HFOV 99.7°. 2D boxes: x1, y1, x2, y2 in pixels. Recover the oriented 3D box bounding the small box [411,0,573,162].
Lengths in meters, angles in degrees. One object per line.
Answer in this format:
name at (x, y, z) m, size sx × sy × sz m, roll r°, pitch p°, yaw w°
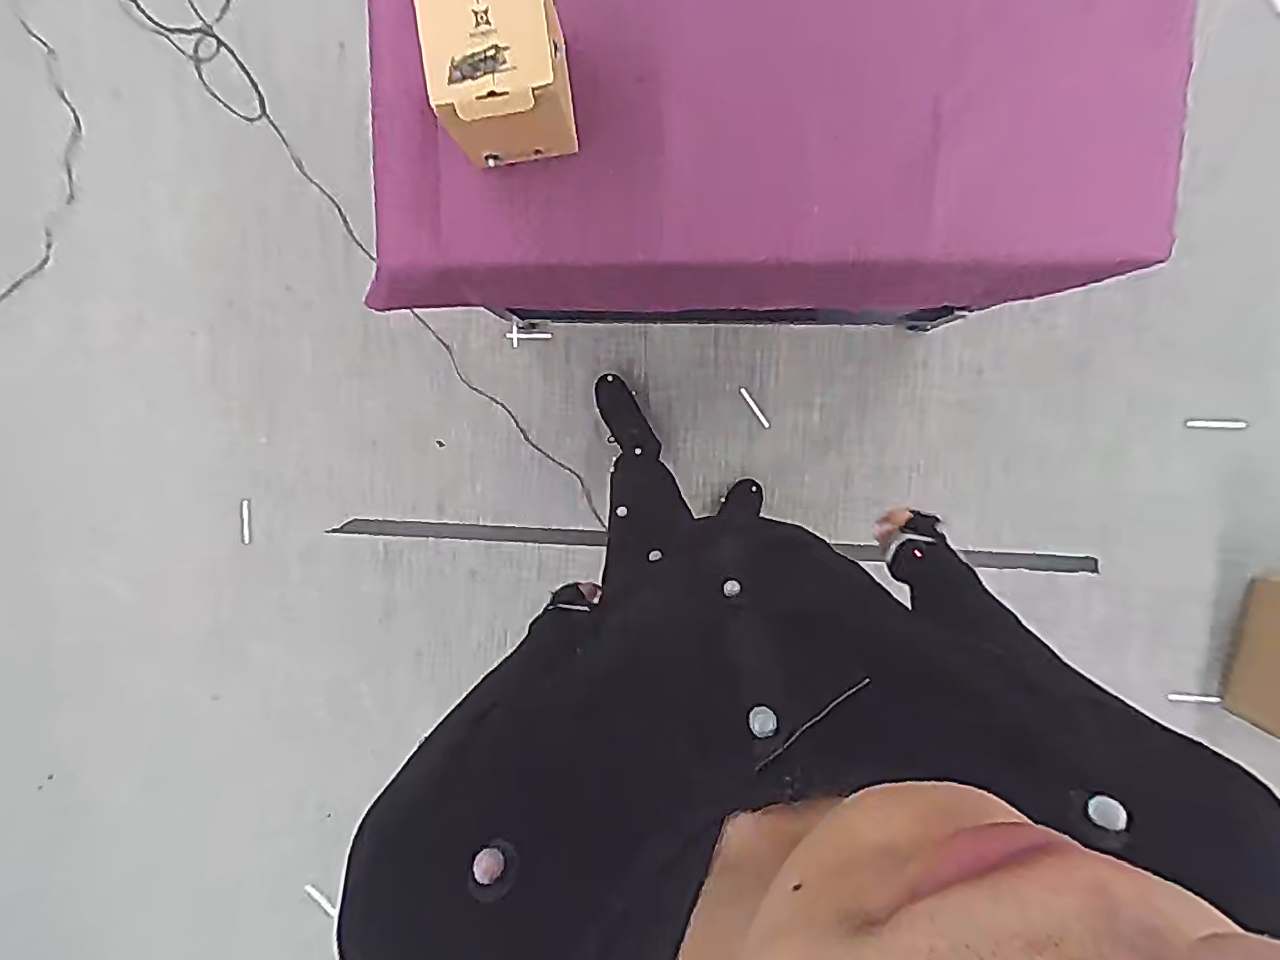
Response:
small box at (-0.197, -0.576, 0.761) m, size 0.168 × 0.176 × 0.179 m, roll -7°, pitch 94°, yaw 4°
